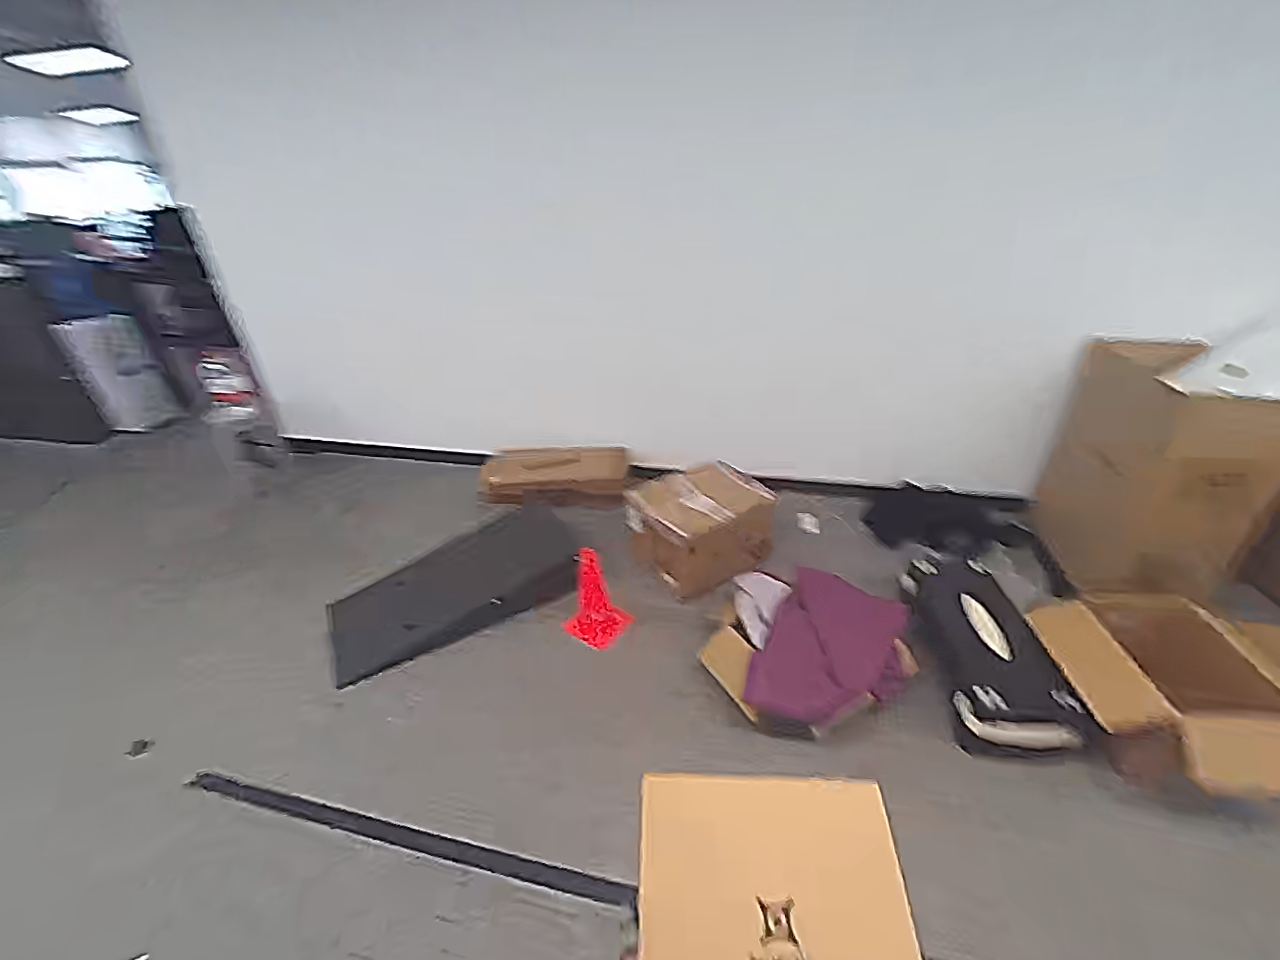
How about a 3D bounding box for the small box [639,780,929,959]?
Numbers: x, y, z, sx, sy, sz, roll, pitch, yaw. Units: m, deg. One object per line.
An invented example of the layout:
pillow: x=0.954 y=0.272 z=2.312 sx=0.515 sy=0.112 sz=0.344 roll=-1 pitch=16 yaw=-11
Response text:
small box: x=0.083 y=0.326 z=0.368 sx=0.168 sy=0.176 sz=0.179 roll=0 pitch=46 yaw=1
